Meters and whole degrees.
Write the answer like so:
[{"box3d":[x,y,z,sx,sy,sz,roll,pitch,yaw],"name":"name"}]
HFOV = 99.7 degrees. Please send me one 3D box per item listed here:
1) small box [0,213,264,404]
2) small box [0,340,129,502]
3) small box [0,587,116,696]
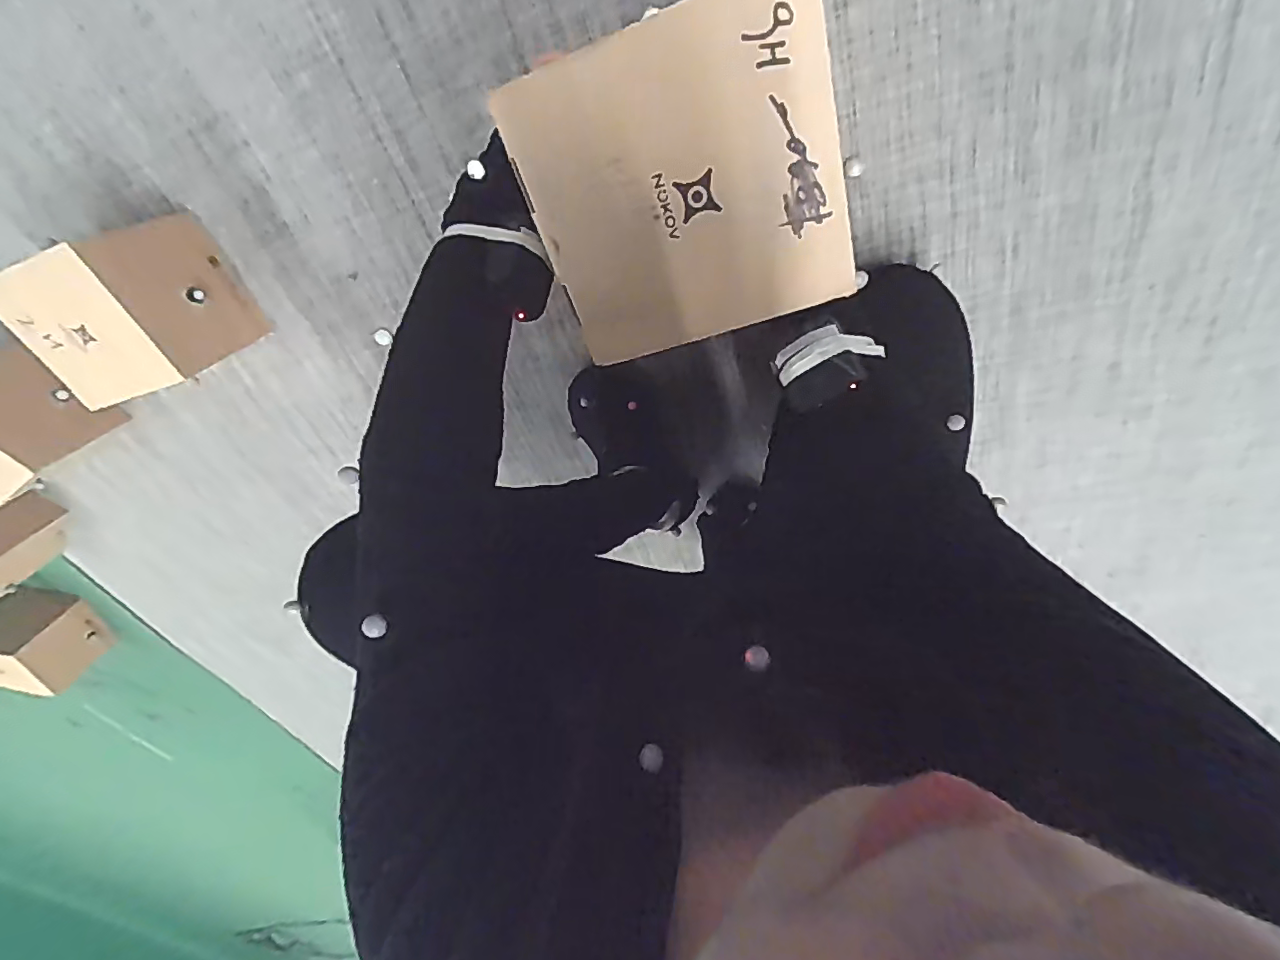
[{"box3d":[-0.634,-0.222,0.694,0.179,0.176,0.168,-10,123,16],"name":"small box"},{"box3d":[-0.977,-0.092,0.848,0.179,0.176,0.168,-22,120,23],"name":"small box"},{"box3d":[-1.417,0.373,1.270,0.179,0.176,0.168,9,127,3],"name":"small box"}]
